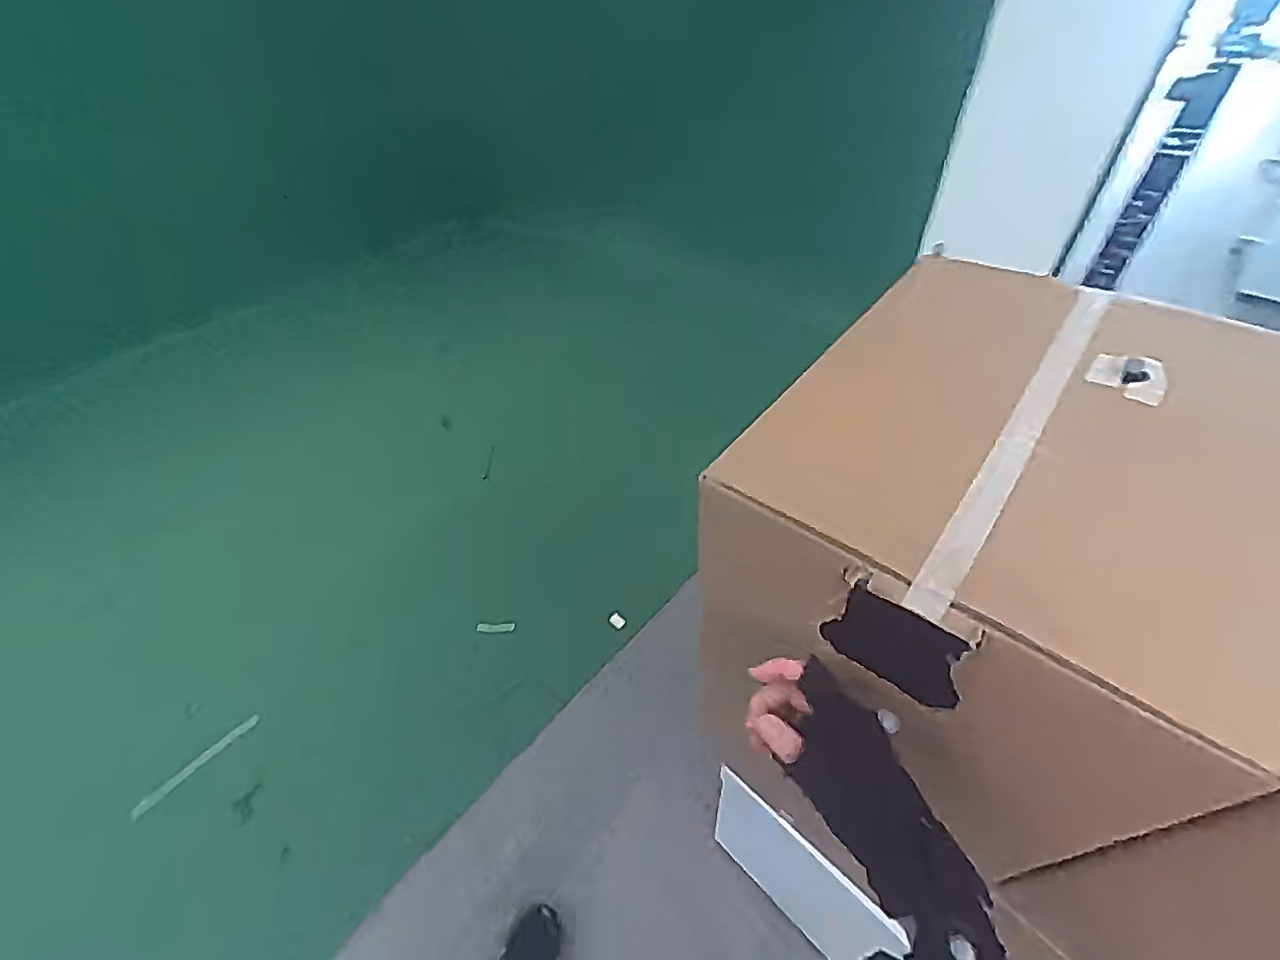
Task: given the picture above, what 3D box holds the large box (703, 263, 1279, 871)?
[{"bbox_3d":[0.294,0.048,0.514,0.320,0.320,0.408,30,55,29],"label":"large box"}]
